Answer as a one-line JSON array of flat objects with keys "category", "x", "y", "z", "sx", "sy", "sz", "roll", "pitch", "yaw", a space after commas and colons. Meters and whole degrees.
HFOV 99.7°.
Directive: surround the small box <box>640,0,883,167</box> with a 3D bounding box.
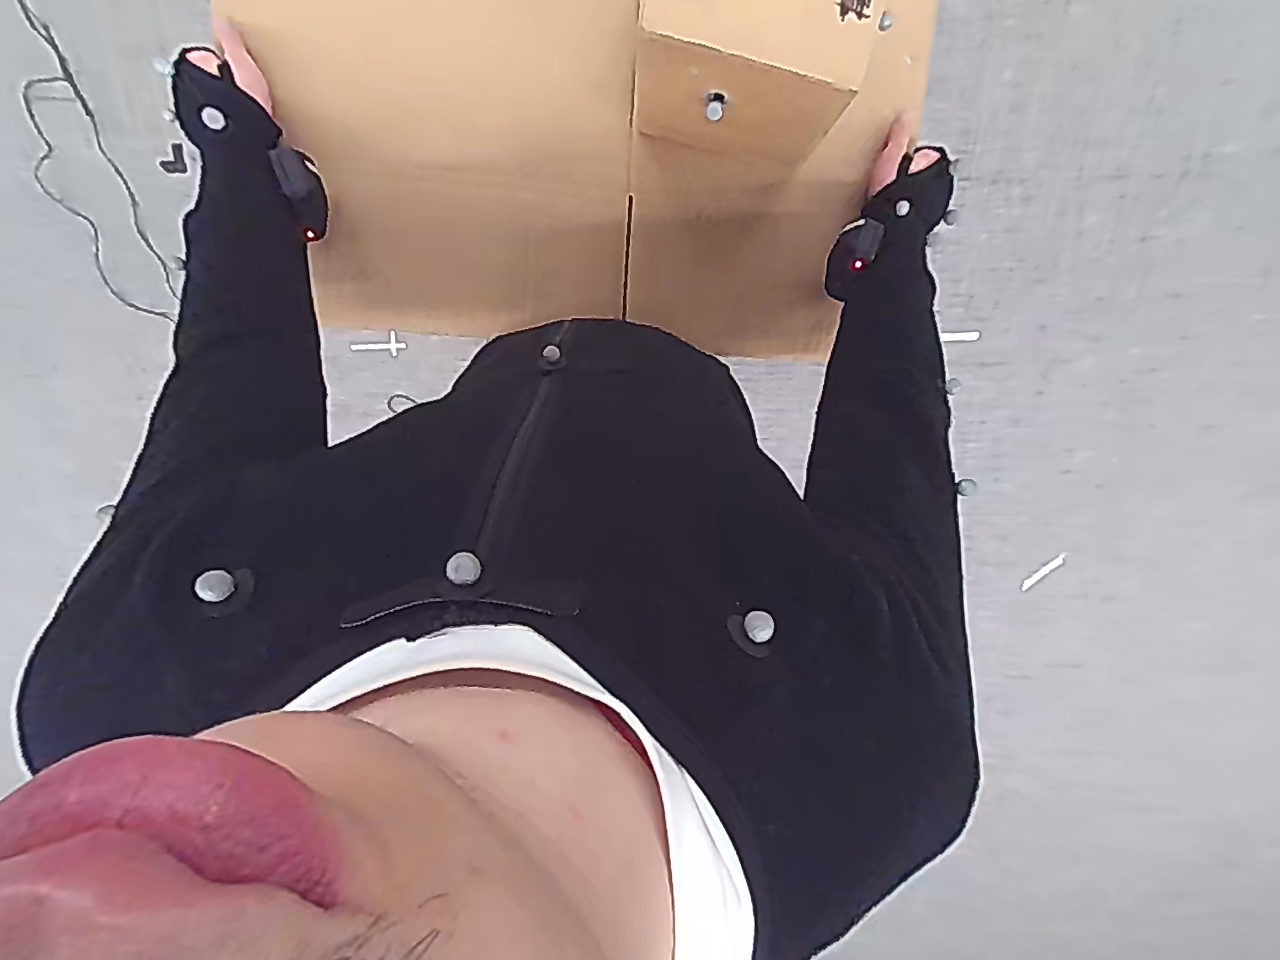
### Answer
[{"category": "small box", "x": 0.104, "y": -0.409, "z": 0.479, "sx": 0.179, "sy": 0.176, "sz": 0.168, "roll": 14, "pitch": 100, "yaw": -2}]
